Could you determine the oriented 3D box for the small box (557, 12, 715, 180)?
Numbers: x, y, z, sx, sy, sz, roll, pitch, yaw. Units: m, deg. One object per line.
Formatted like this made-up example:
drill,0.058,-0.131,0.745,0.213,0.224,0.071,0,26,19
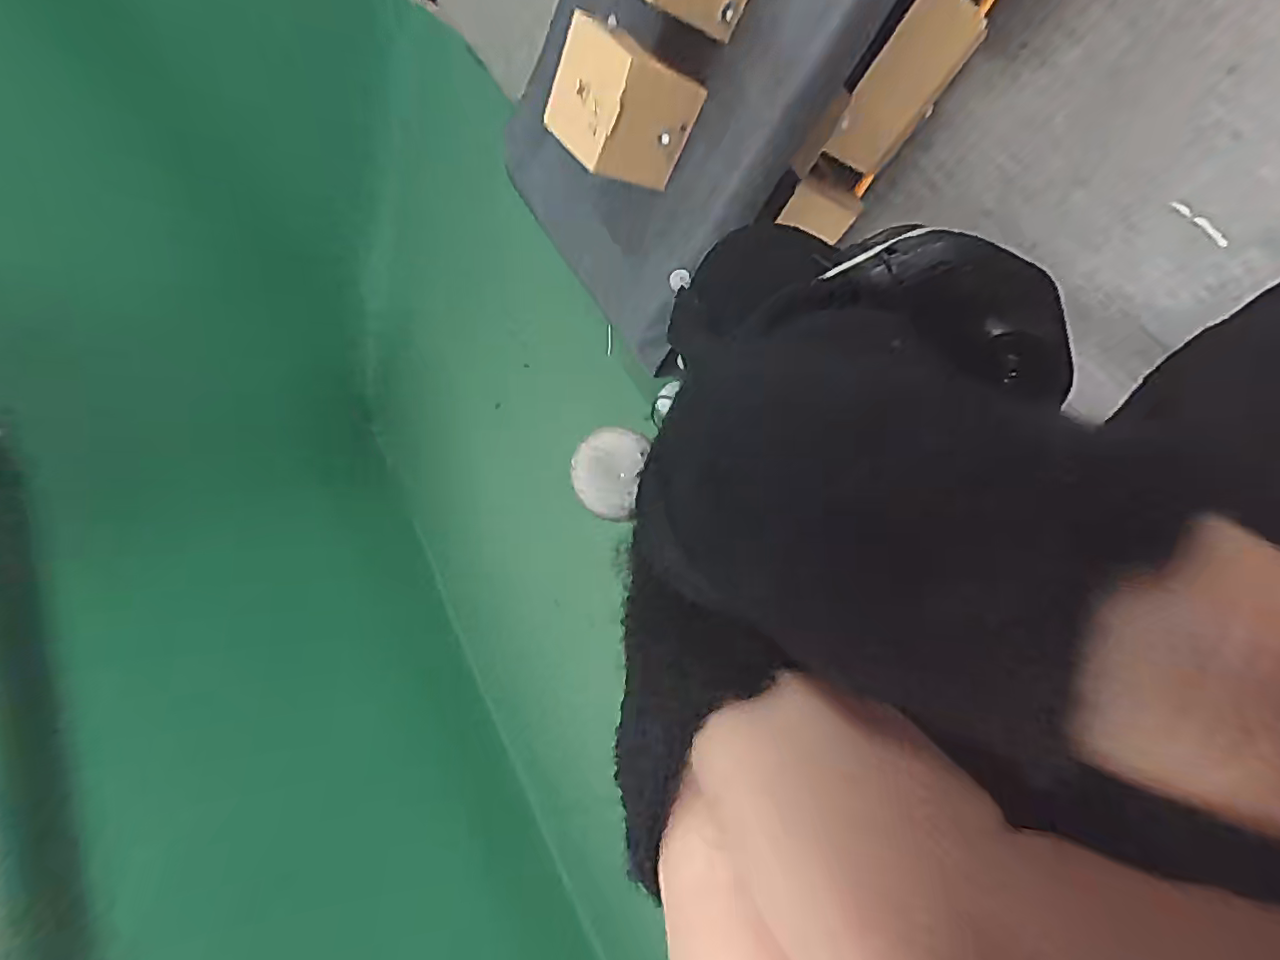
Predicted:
small box,-0.009,-0.637,0.918,0.179,0.176,0.168,54,136,23
